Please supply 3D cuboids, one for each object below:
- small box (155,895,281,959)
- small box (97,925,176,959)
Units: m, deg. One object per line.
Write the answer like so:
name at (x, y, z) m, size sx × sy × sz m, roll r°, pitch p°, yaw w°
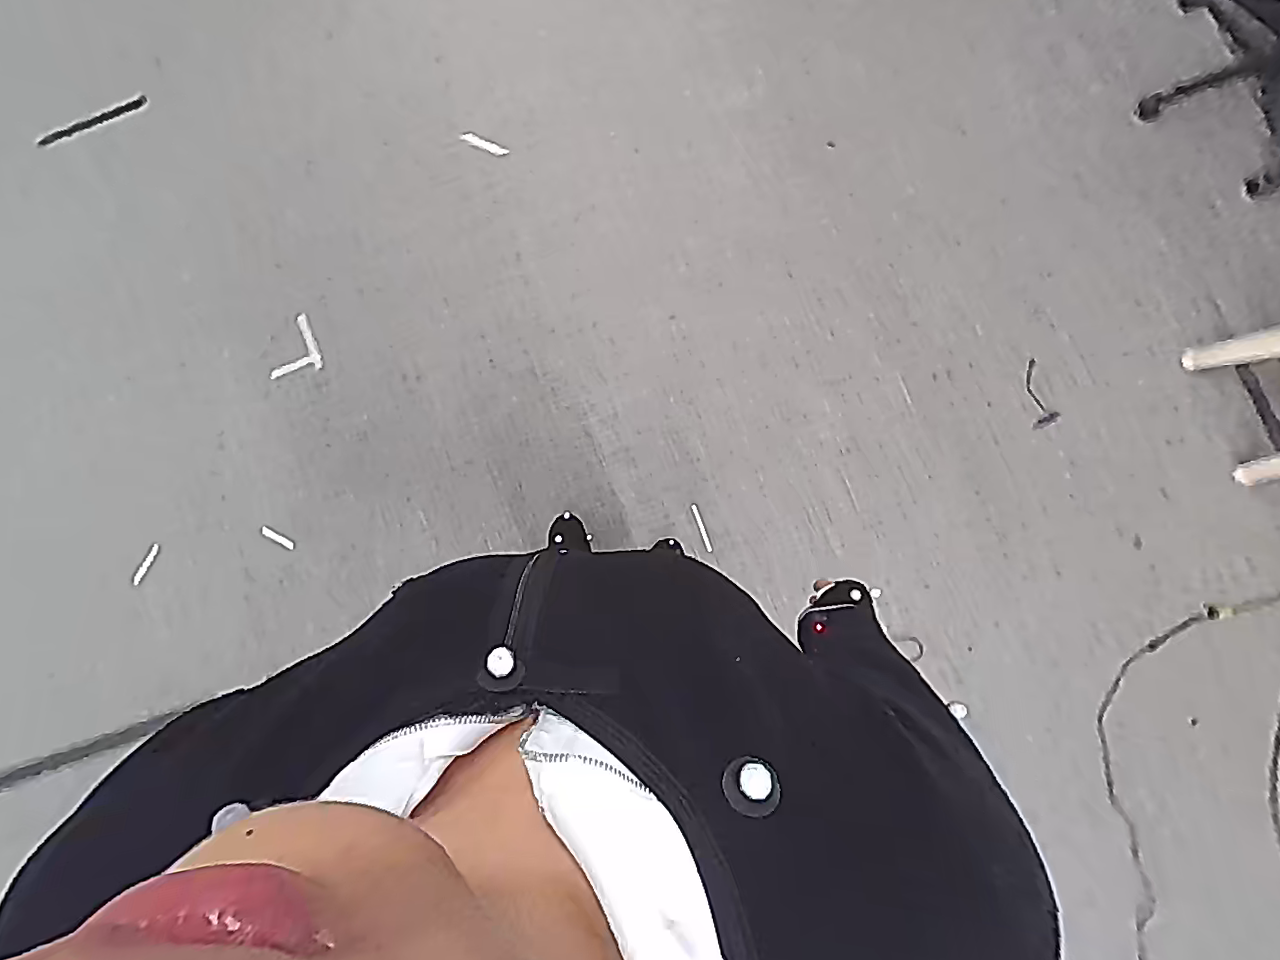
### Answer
small box at (-1.069, 1.218, 1.377) m, size 0.179 × 0.176 × 0.168 m, roll -20°, pitch 85°, yaw -1°
small box at (-1.318, 1.303, 1.377) m, size 0.168 × 0.176 × 0.179 m, roll -21°, pitch 85°, yaw -1°
